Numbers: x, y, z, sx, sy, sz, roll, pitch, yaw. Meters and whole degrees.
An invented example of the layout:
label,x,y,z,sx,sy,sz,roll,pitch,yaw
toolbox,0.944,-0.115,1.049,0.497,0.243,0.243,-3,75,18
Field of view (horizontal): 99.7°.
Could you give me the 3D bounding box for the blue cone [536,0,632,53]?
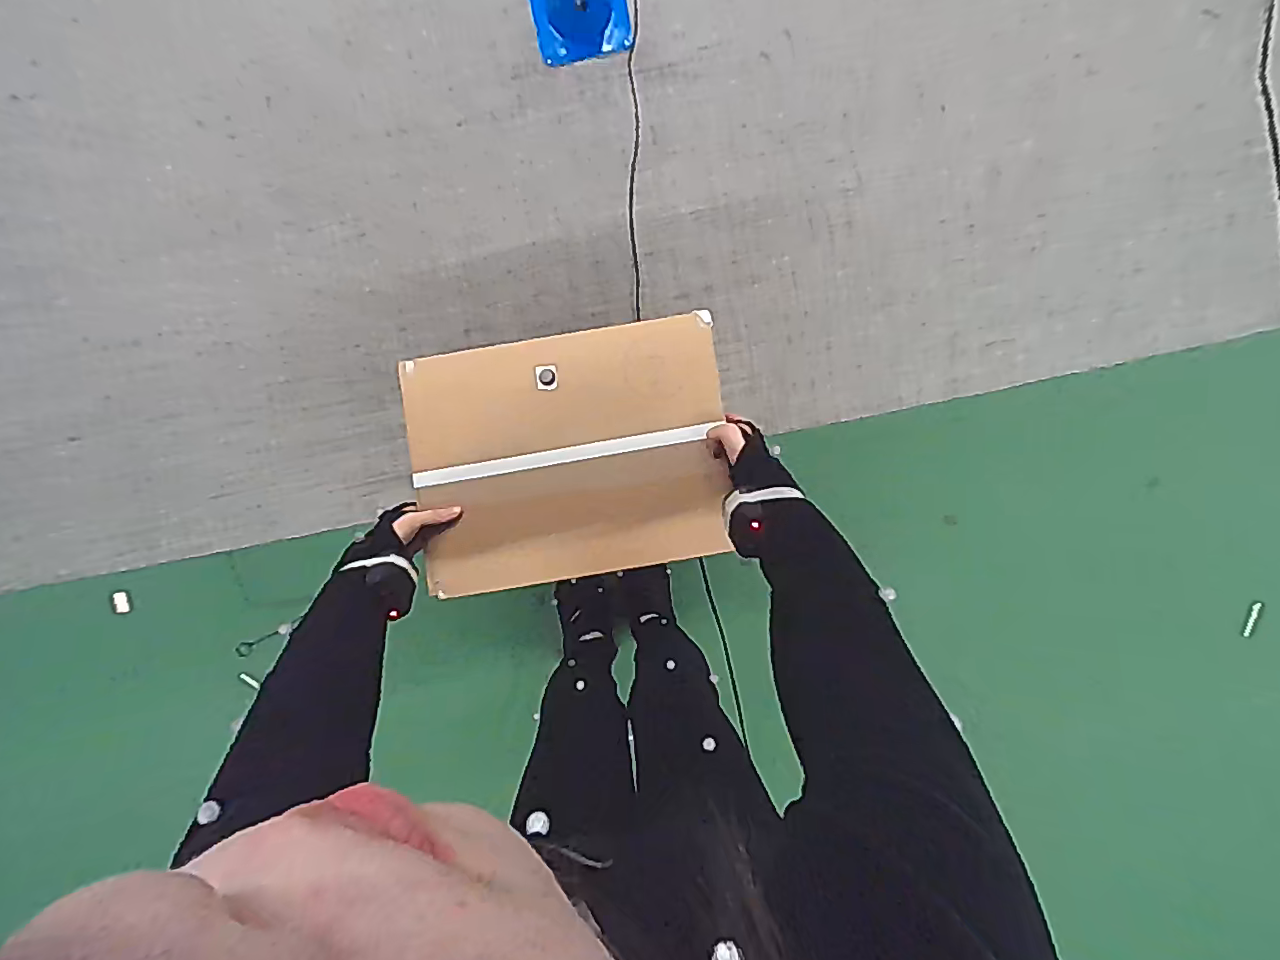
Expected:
label,x,y,z,sx,sy,sz,roll,pitch,yaw
blue cone,-0.122,-0.974,0.950,0.193,0.380,0.192,-14,96,2
